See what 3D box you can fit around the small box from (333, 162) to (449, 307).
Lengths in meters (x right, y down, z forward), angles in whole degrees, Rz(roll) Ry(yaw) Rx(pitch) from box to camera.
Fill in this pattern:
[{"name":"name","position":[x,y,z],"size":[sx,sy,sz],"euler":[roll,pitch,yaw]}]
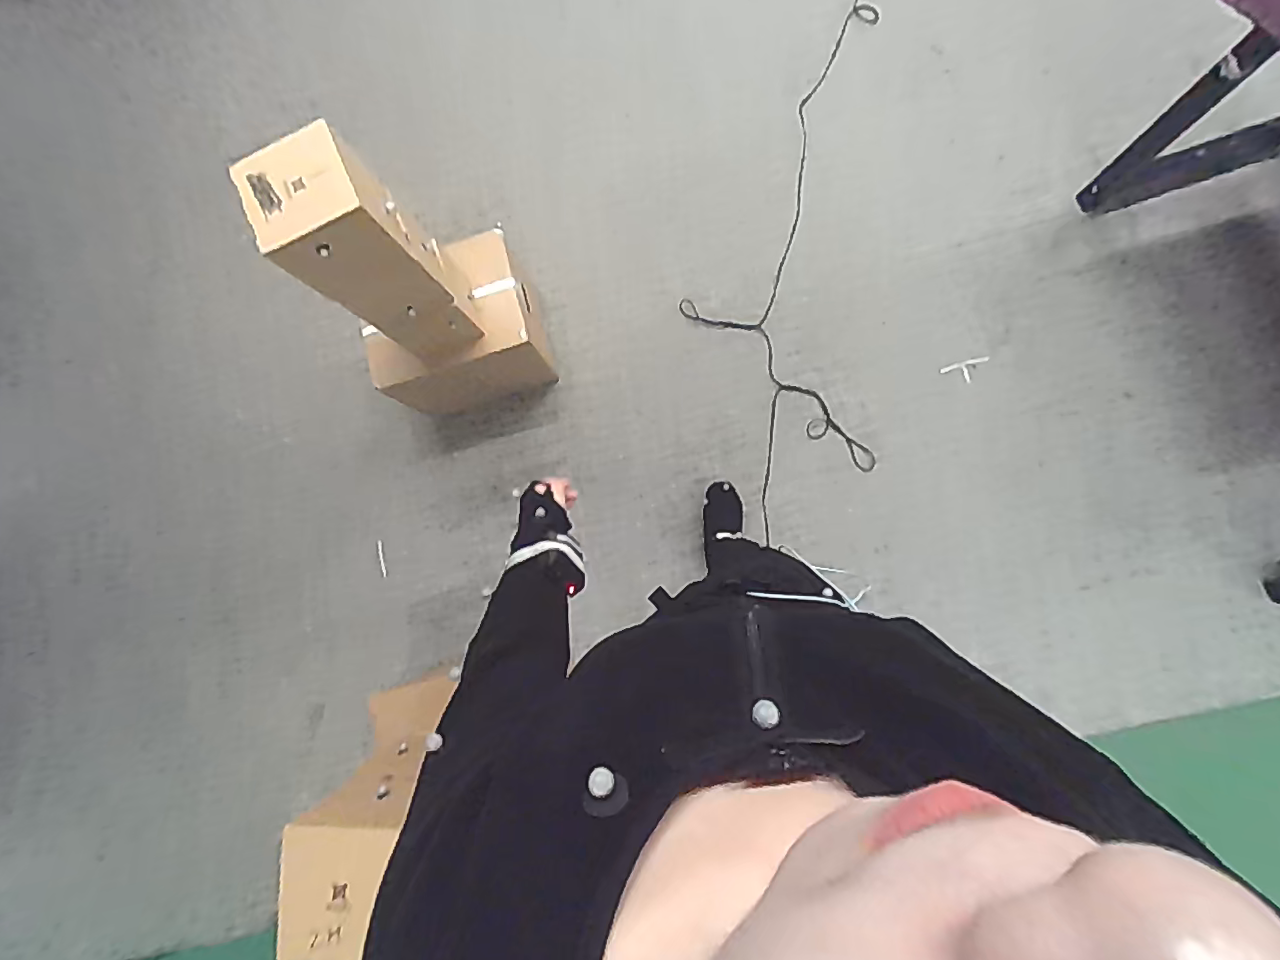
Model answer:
[{"name":"small box","position":[-0.505,-0.477,1.074],"size":[0.179,0.176,0.168],"euler":[-25,83,3]}]

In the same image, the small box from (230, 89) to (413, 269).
[{"name":"small box","position":[-0.524,-0.490,0.910],"size":[0.179,0.176,0.168],"euler":[-25,84,3]}]

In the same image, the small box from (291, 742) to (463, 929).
[{"name":"small box","position":[-0.373,0.504,0.794],"size":[0.168,0.176,0.179],"euler":[-1,85,6]}]
